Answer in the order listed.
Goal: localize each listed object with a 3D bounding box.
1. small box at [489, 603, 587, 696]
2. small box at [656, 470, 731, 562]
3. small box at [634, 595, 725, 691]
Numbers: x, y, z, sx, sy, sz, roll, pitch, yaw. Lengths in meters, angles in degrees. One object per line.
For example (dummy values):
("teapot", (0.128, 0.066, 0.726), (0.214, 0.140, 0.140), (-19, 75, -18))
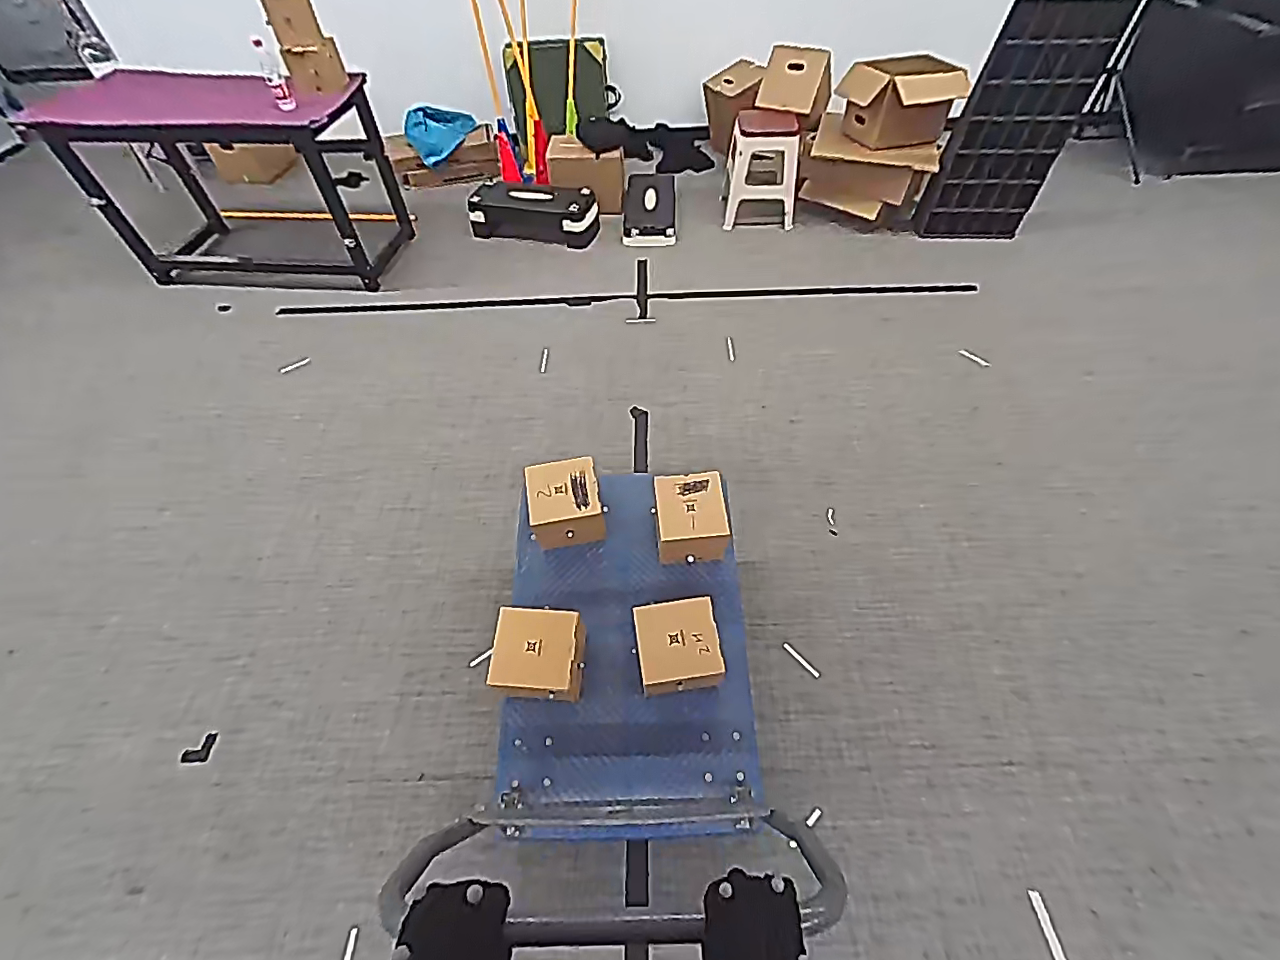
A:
("small box", (-0.223, 0.389, 1.226), (0.179, 0.176, 0.168), (4, 61, 2))
("small box", (0.129, 0.094, 1.376), (0.168, 0.176, 0.179), (-5, 62, -1))
("small box", (0.085, 0.374, 1.224), (0.179, 0.176, 0.168), (-8, 62, -2))
